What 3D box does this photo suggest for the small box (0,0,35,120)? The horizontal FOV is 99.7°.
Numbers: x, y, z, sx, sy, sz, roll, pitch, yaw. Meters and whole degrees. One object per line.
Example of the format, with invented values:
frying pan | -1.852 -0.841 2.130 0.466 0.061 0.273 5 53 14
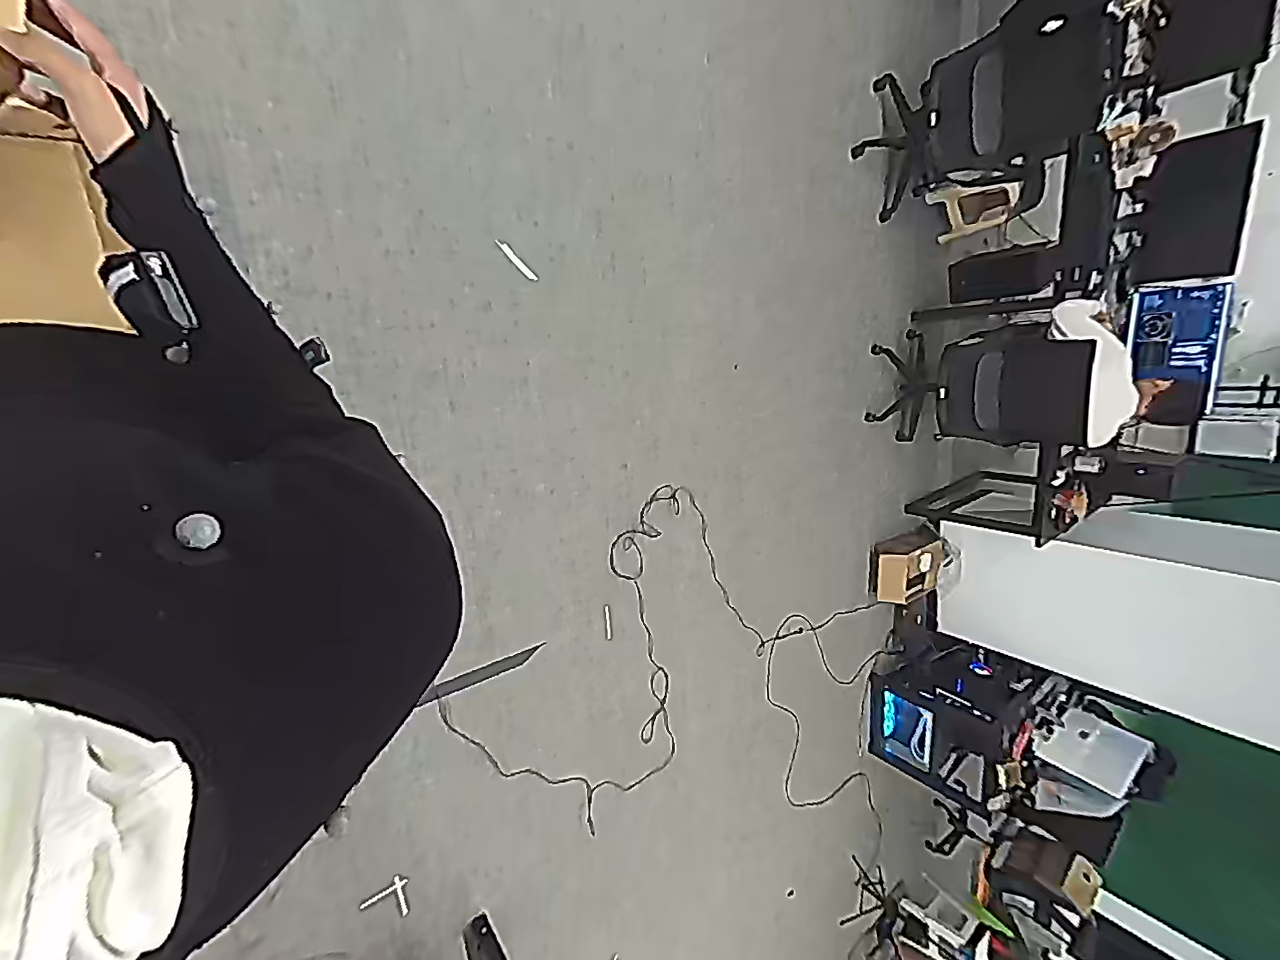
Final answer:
small box | -0.543 -0.369 0.356 0.168 0.176 0.179 -1 93 -59
